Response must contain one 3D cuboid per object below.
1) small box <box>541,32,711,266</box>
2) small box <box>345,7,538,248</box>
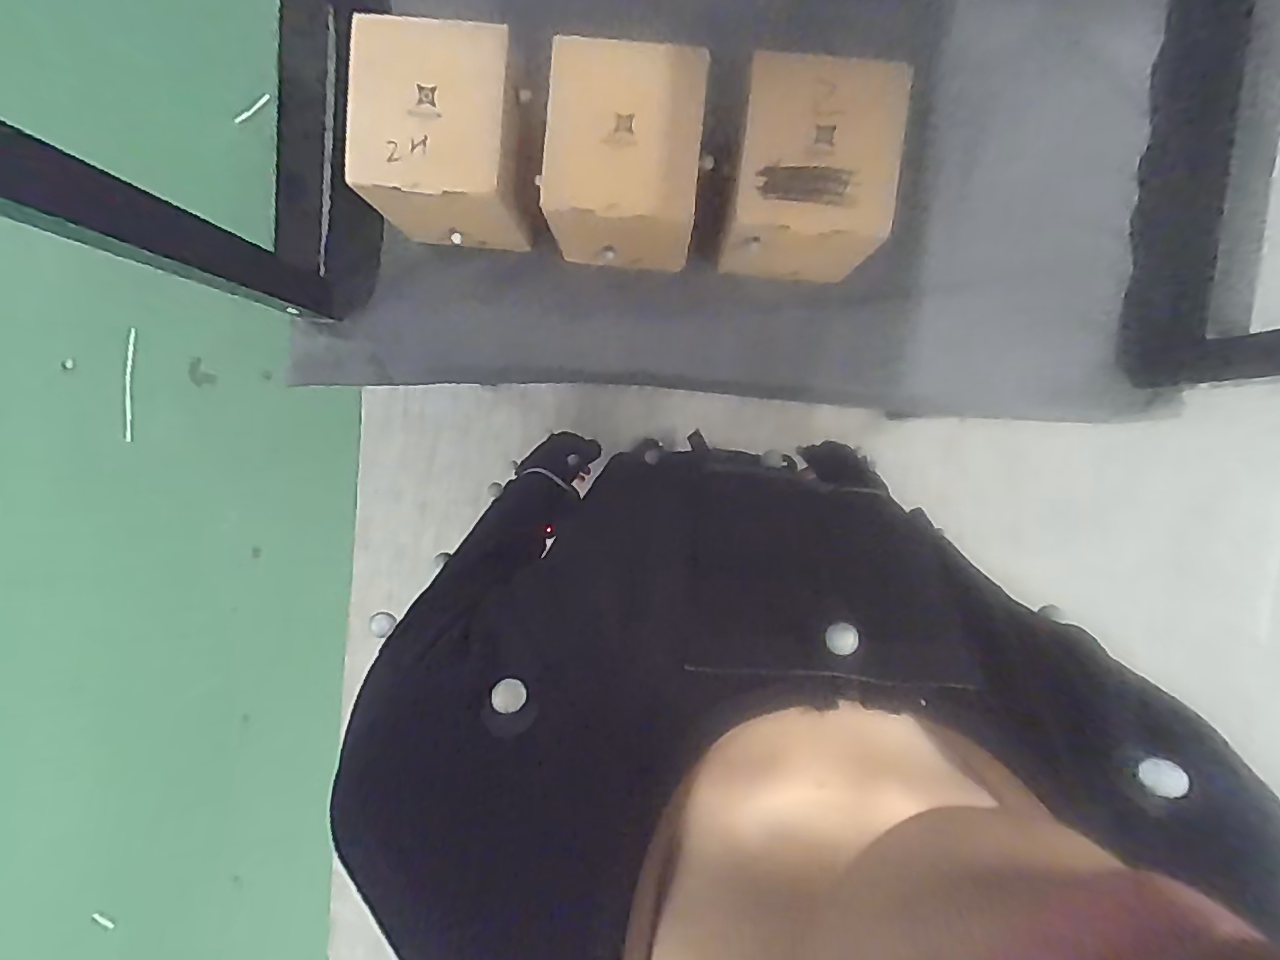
[{"bbox_3d":[-0.016,-0.378,0.648,0.168,0.176,0.179,6,95,0],"label":"small box"},{"bbox_3d":[-0.222,-0.403,0.647,0.168,0.176,0.179,6,94,1],"label":"small box"}]
